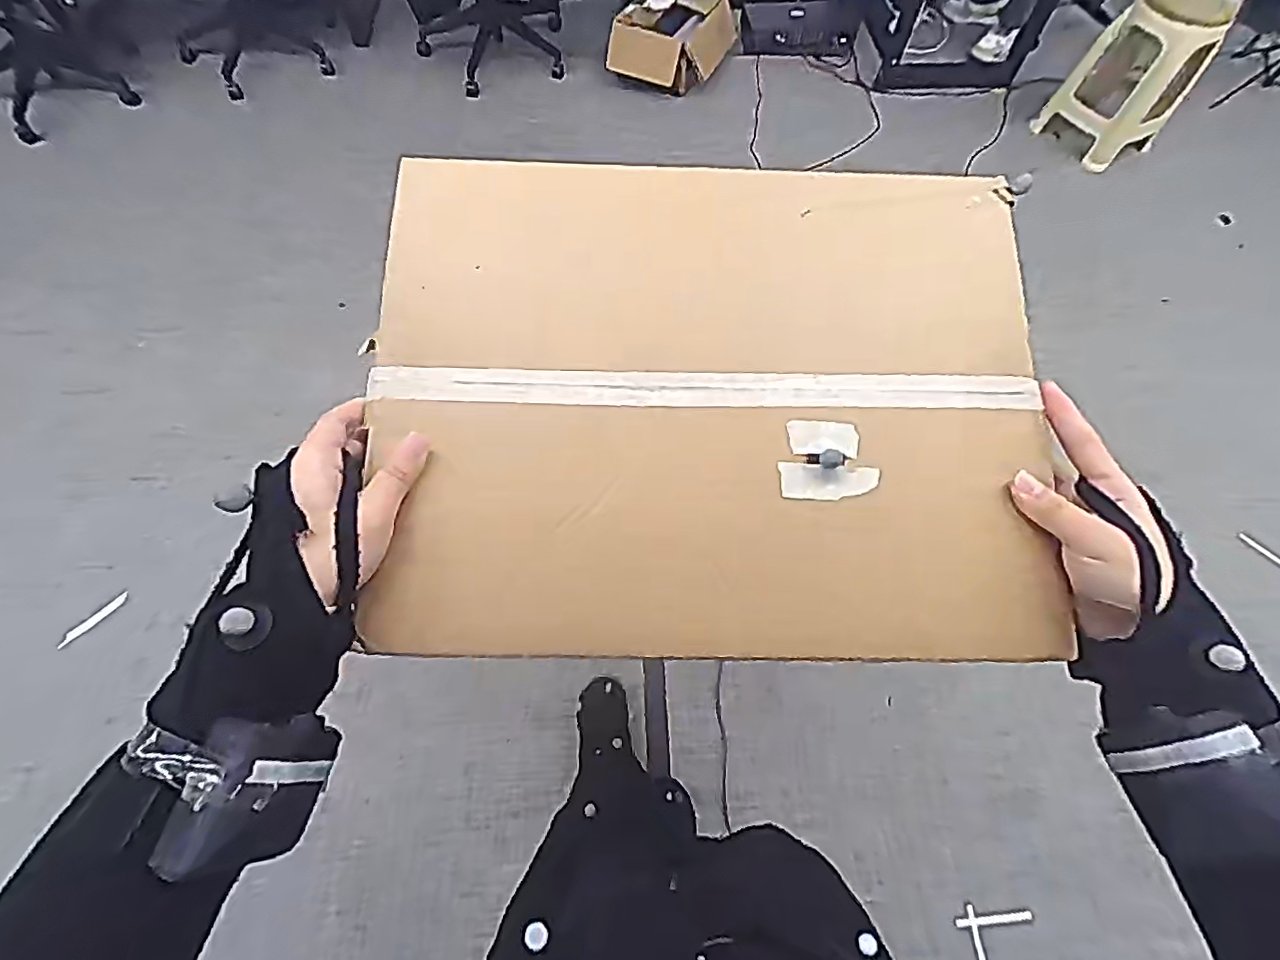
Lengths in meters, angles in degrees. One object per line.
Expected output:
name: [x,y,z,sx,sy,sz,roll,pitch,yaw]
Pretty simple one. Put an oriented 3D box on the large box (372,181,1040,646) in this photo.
large box: [0.035,-0.026,0.492,0.408,0.320,0.320,1,79,-2]
